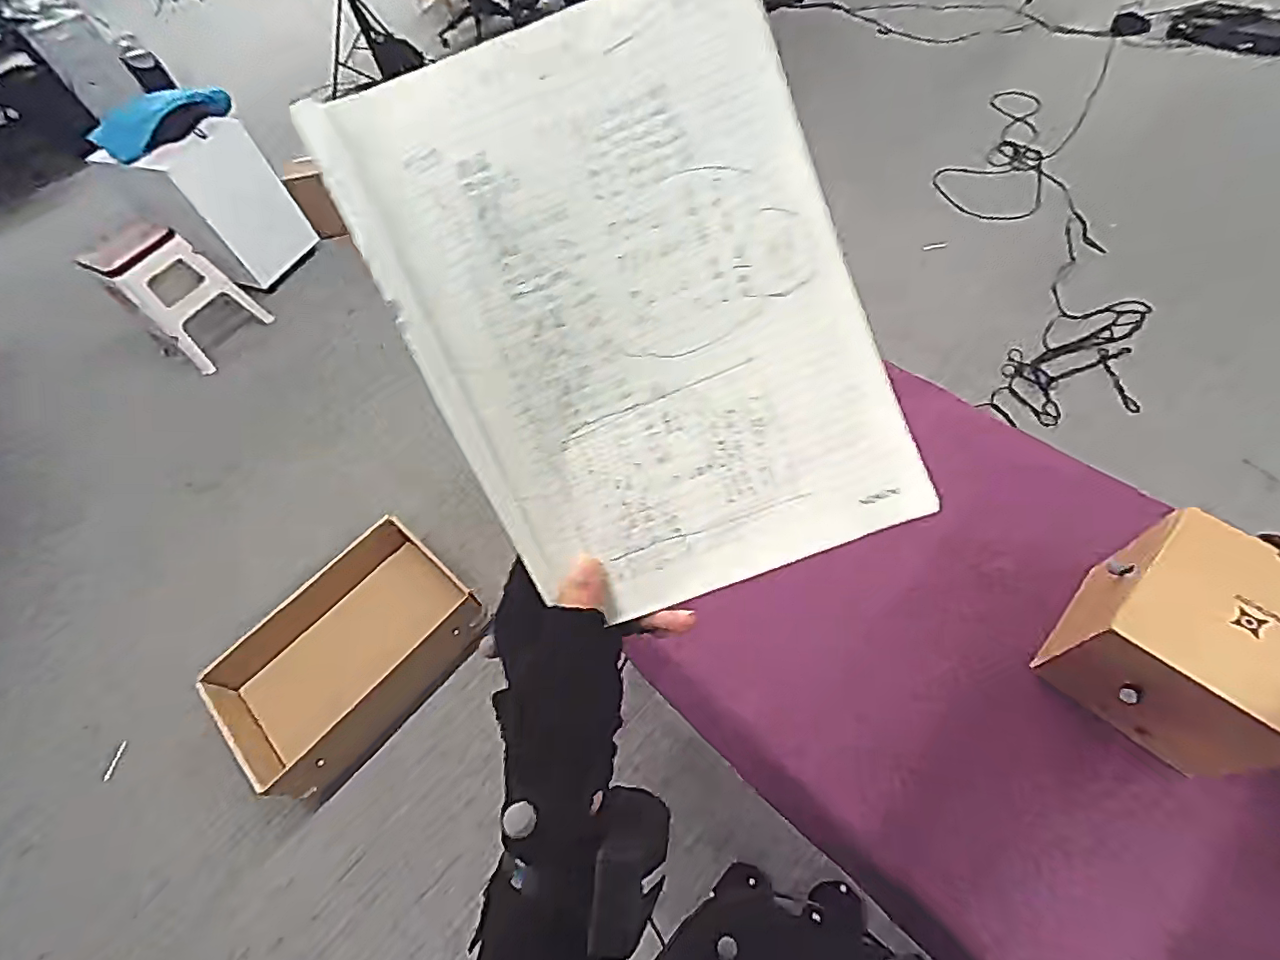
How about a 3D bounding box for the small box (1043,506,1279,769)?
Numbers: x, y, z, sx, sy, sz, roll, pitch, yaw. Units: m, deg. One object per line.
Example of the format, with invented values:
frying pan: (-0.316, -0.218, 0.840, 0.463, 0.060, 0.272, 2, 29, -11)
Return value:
small box: (0.565, 0.167, 0.560, 0.179, 0.176, 0.168, -42, 60, -18)
